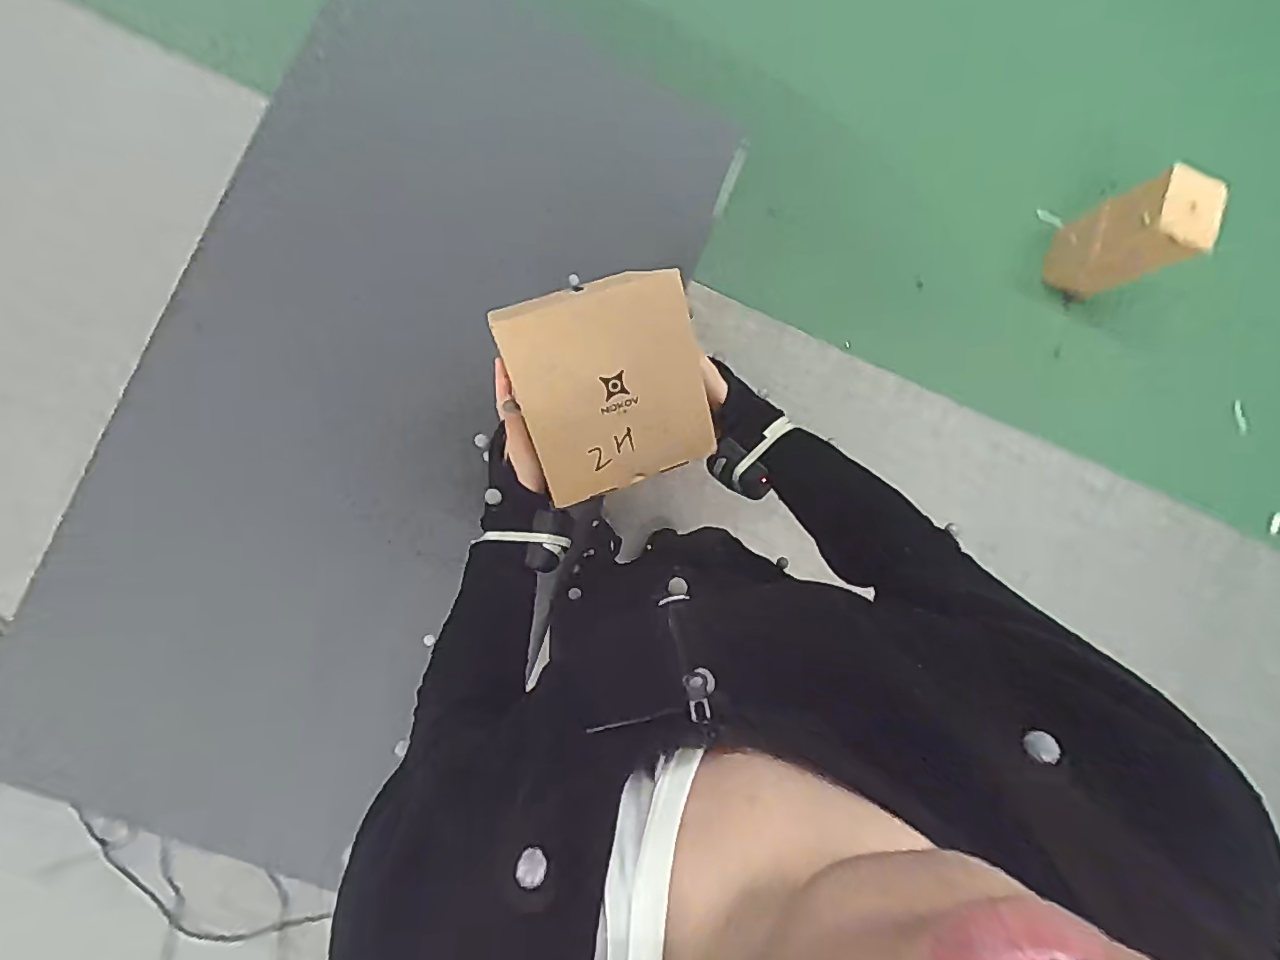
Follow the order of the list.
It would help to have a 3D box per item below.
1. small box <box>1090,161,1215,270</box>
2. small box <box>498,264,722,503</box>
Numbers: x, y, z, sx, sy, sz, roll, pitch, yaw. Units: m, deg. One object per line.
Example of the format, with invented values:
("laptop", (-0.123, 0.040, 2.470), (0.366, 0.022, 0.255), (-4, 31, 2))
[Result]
("small box", (1.363, -0.699, 1.448), (0.168, 0.176, 0.179), (17, 87, -8))
("small box", (-0.038, -0.105, 0.543), (0.168, 0.176, 0.179), (-18, 114, -9))
